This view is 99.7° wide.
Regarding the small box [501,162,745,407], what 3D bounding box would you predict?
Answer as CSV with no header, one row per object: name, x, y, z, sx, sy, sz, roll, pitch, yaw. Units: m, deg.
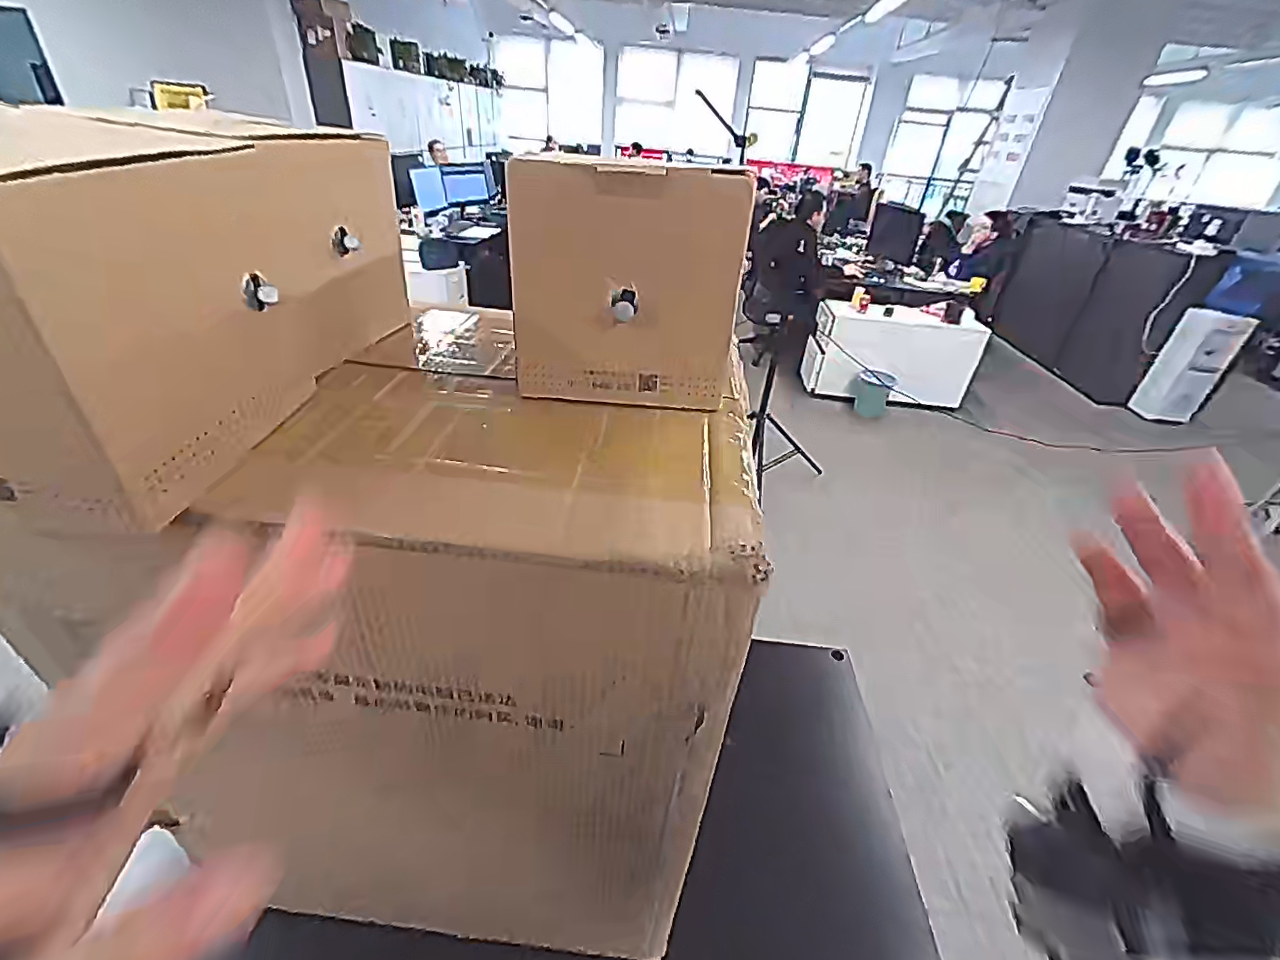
small box,-0.010,-0.172,0.467,0.168,0.176,0.179,3,32,0
